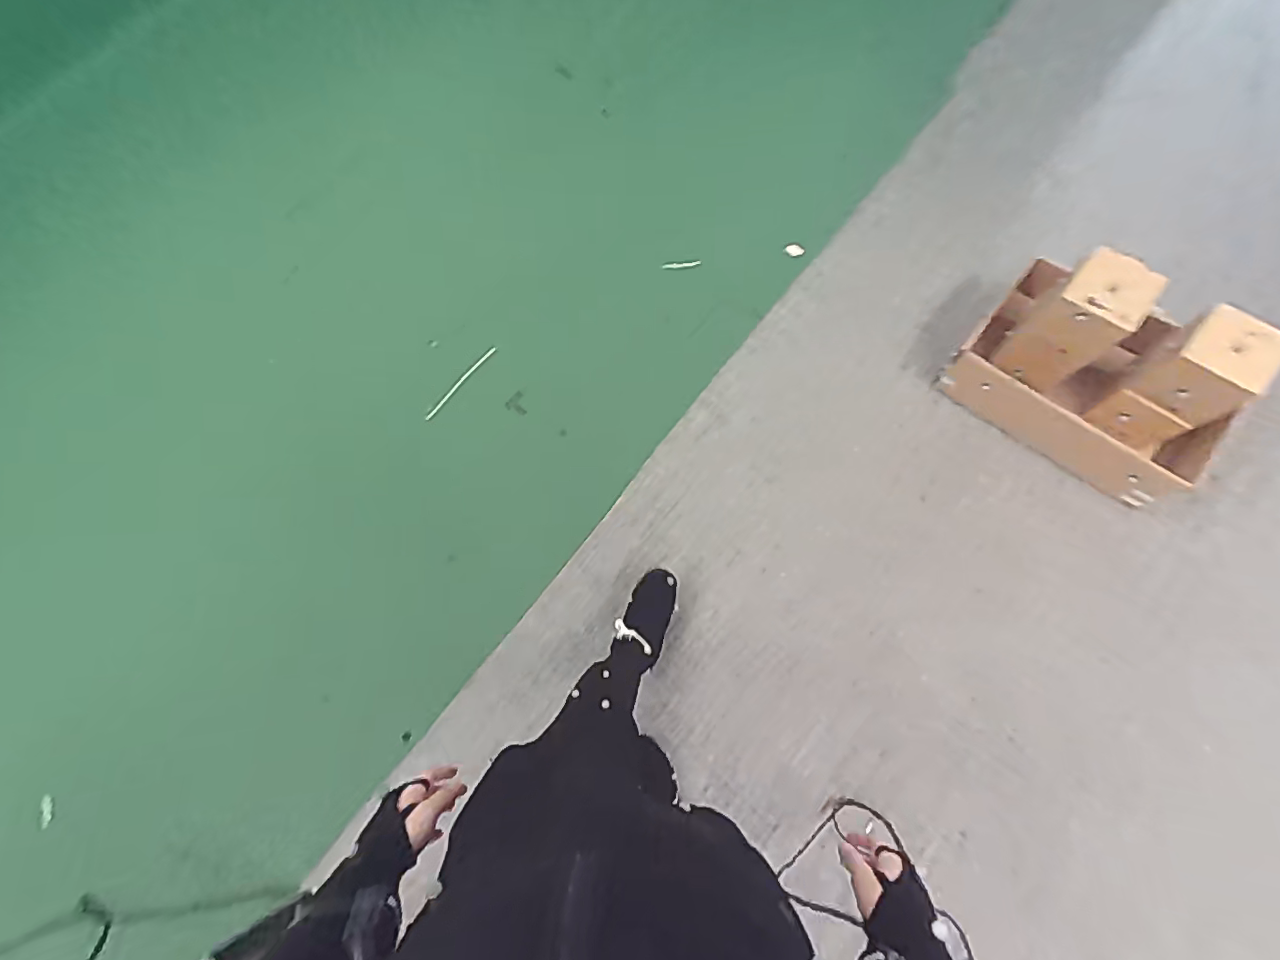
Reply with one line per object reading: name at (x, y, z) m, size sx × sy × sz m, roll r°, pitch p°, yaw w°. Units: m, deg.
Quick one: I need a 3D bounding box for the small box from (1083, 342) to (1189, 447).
small box at (1.310, -0.214, 1.402) m, size 0.168 × 0.176 × 0.179 m, roll 39°, pitch 80°, yaw 16°

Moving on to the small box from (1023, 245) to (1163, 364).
small box at (1.083, -0.418, 1.311) m, size 0.168 × 0.176 × 0.179 m, roll 37°, pitch 79°, yaw 15°

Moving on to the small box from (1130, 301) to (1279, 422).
small box at (1.297, -0.265, 1.245) m, size 0.168 × 0.176 × 0.179 m, roll 39°, pitch 80°, yaw 16°
